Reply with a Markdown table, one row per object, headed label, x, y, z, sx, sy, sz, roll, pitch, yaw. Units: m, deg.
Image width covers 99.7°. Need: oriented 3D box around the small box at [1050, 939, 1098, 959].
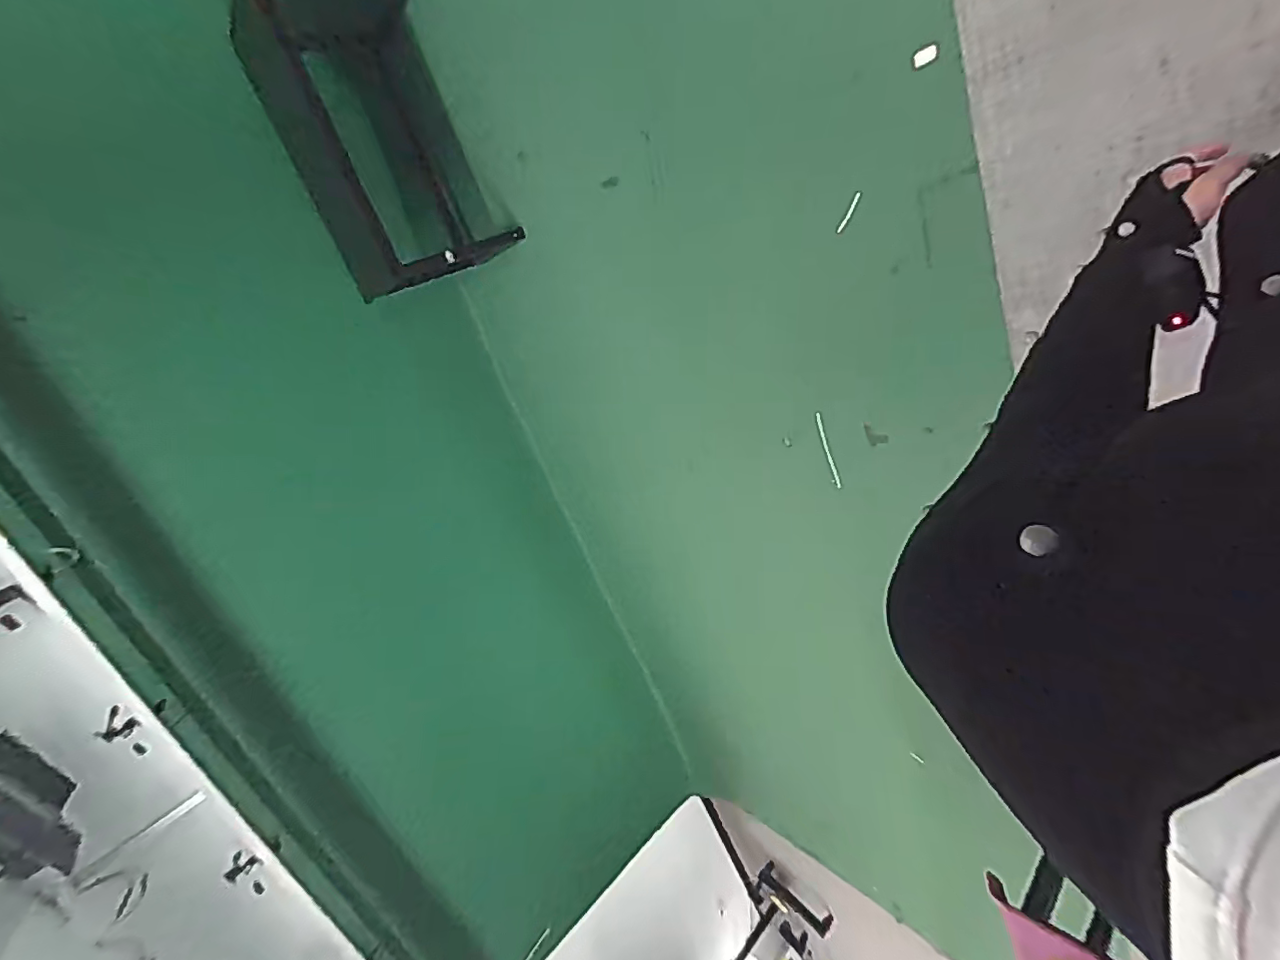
| label | x | y | z | sx | sy | sz | roll | pitch | yaw |
| --- | --- | --- | --- | --- | --- | --- | --- | --- | --- |
| small box | 1.093 | 1.282 | 1.303 | 0.168 | 0.176 | 0.179 | 3 | 121 | 54 |
